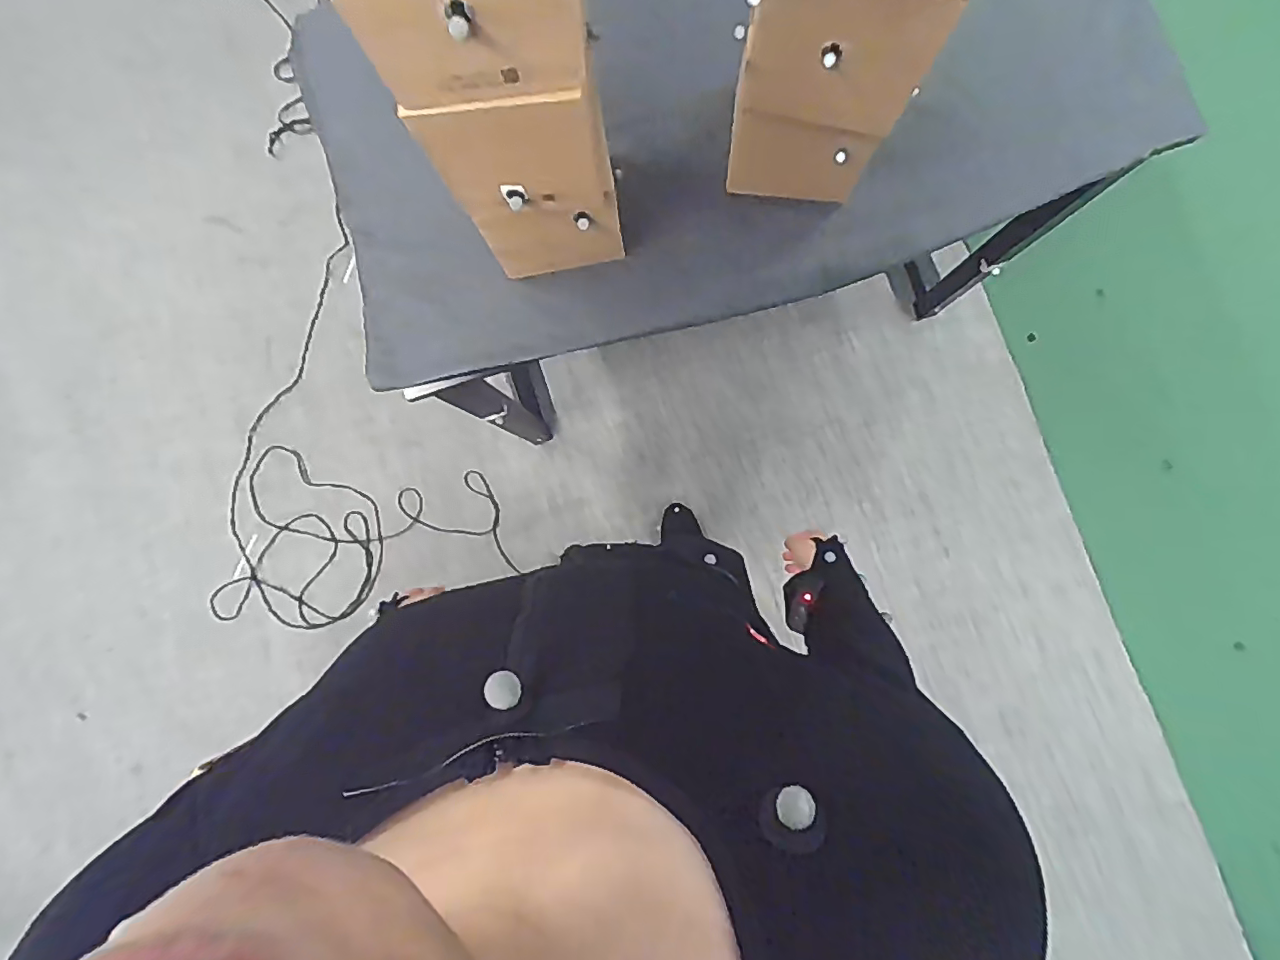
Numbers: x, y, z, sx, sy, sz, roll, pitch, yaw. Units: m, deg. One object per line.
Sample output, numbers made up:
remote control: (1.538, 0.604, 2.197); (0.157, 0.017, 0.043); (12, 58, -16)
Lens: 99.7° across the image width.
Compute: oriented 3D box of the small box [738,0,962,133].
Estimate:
small box: (0.210, -0.492, 0.546); (0.179, 0.176, 0.168); (13, 86, 4)

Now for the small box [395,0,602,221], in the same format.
small box: (-0.135, -0.400, 0.559); (0.168, 0.176, 0.179); (-5, 87, 4)

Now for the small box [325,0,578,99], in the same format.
small box: (-0.144, -0.418, 0.396); (0.168, 0.176, 0.179); (-6, 86, 3)

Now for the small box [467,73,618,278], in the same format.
small box: (-0.127, -0.393, 0.721); (0.179, 0.176, 0.168); (-10, 85, 2)
